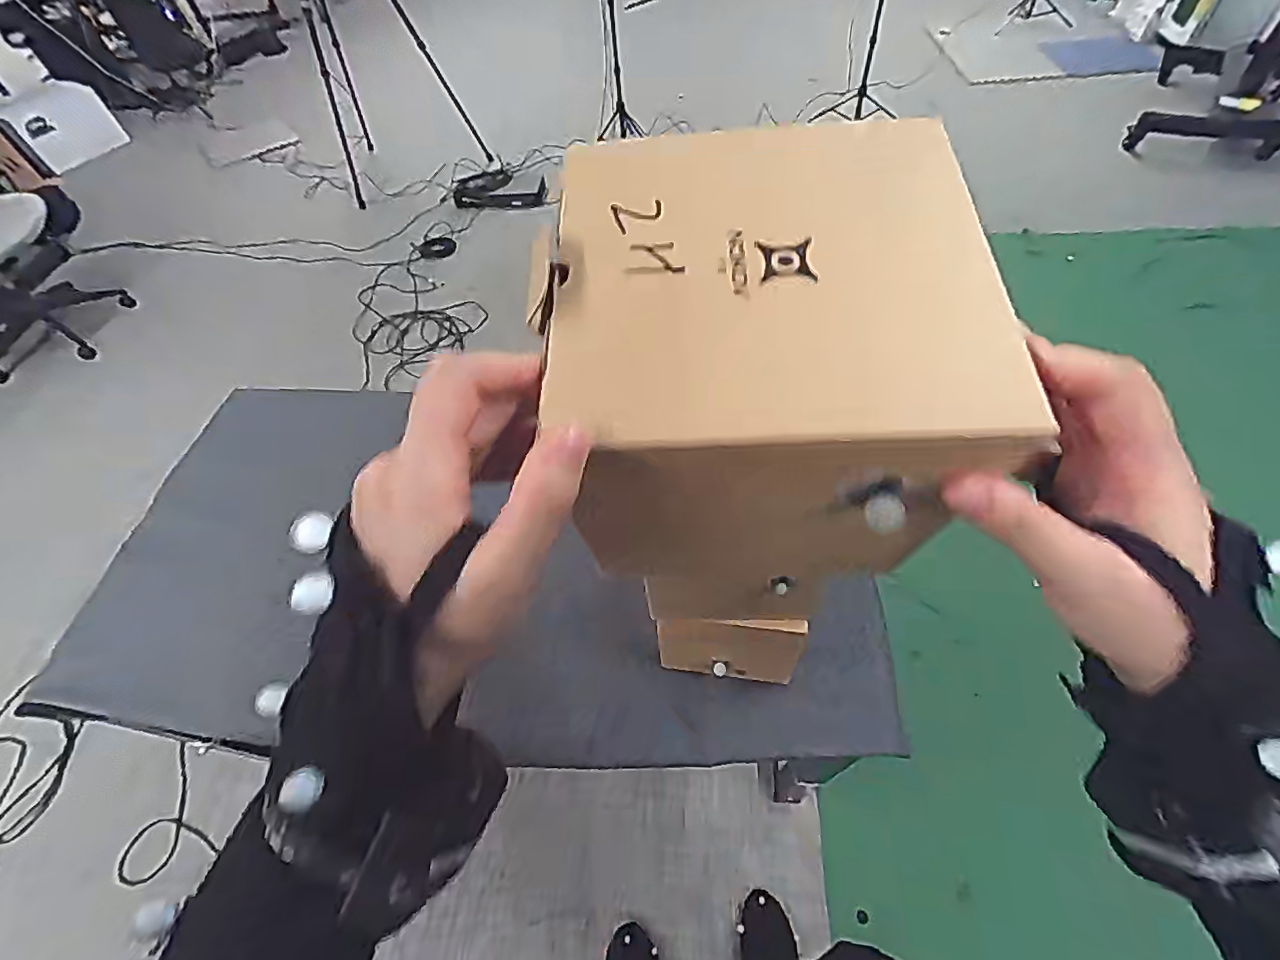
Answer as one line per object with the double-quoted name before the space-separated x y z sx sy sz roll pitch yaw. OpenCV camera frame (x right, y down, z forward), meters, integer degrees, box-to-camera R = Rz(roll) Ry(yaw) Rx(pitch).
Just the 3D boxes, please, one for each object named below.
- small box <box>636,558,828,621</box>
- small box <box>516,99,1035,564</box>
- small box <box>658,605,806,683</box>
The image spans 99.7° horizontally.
"small box" 0.089 0.037 0.563 0.179 0.176 0.168 -3 50 6
"small box" 0.051 -0.058 0.287 0.179 0.176 0.168 -3 63 6
"small box" 0.114 0.137 0.689 0.168 0.176 0.179 4 53 10
